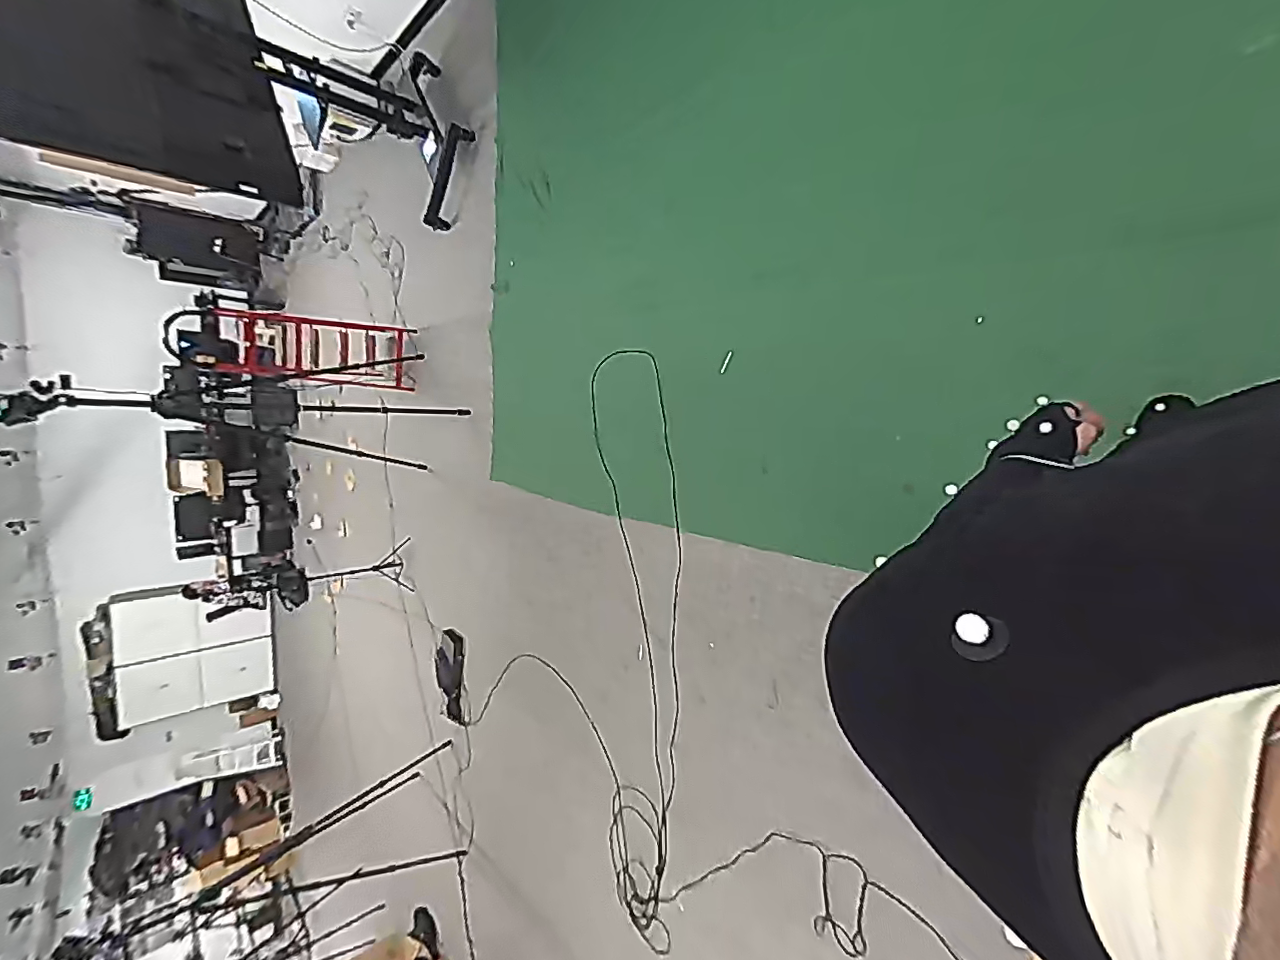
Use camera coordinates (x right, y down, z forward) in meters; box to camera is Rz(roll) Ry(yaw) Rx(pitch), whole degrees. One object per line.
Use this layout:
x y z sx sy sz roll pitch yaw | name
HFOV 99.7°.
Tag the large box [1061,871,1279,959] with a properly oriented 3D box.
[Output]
1.146 1.145 1.131 0.408 0.320 0.320 6 98 45 | large box
